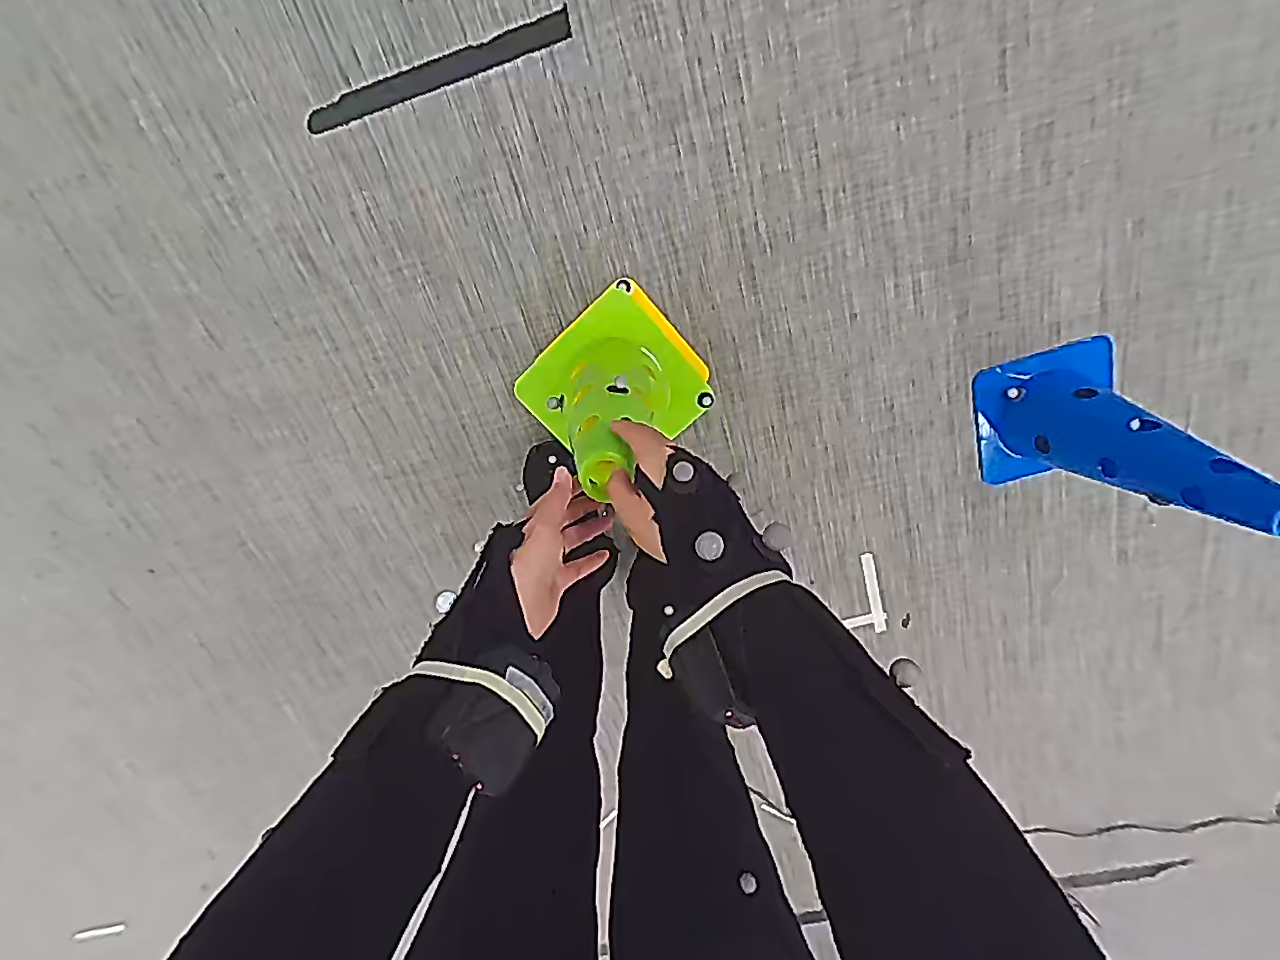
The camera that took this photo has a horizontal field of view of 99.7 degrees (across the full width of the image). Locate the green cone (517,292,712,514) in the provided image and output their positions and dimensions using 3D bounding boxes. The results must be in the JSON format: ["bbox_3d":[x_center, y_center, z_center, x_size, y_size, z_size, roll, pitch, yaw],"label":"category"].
[{"bbox_3d":[-0.030,-0.057,0.551,0.202,0.368,0.200,-41,104,12],"label":"green cone"}]
